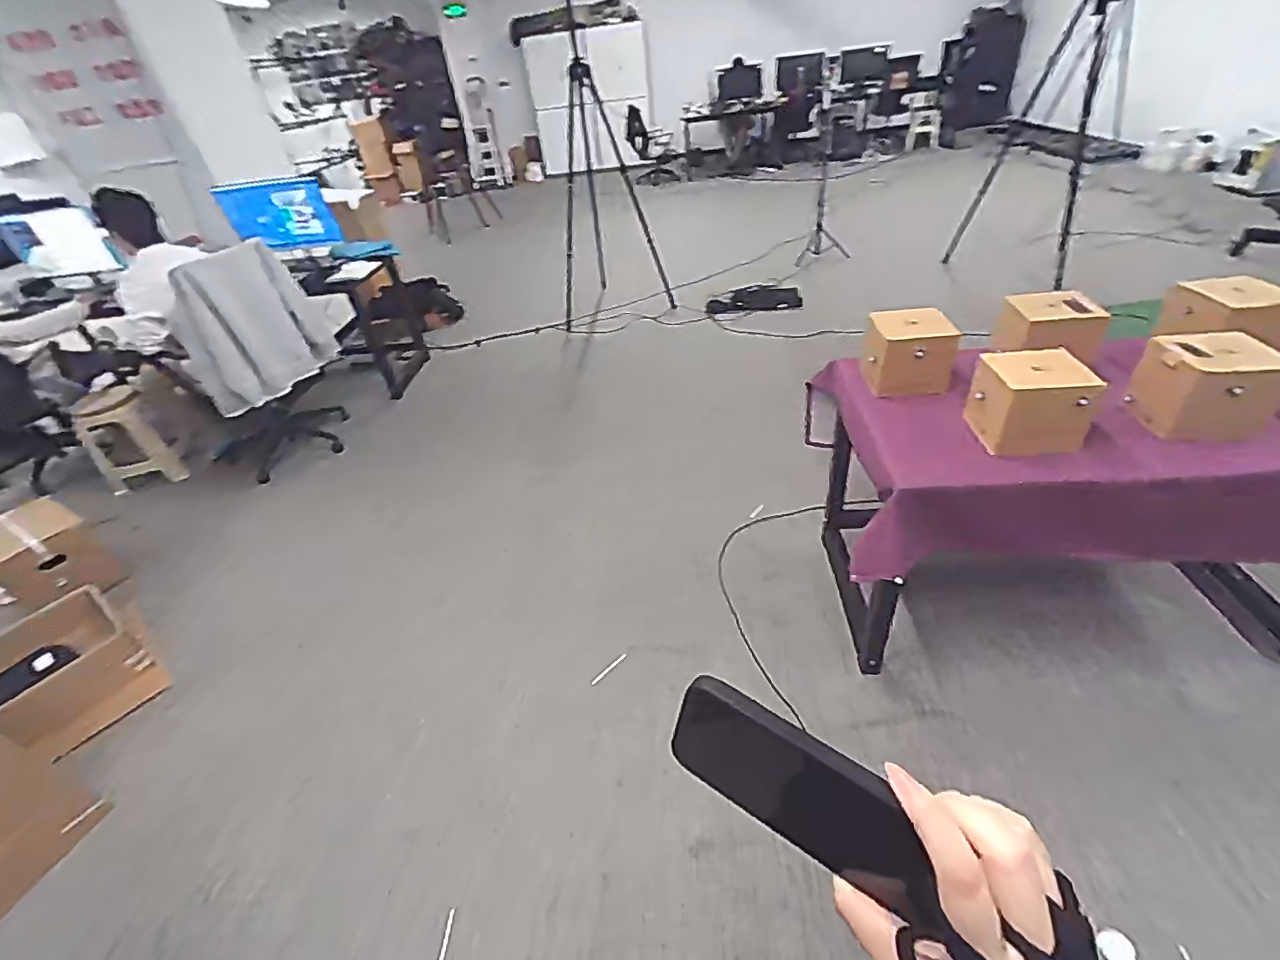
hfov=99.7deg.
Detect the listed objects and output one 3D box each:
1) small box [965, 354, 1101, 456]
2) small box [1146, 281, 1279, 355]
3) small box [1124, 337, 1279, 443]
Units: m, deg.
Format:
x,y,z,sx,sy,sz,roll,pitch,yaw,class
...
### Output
x,y,z,sx,sy,sz,roll,pitch,yaw,class
0.846,-0.163,1.190,0.179,0.176,0.168,-1,38,7,small box
1.440,-0.381,1.353,0.168,0.176,0.179,-5,39,5,small box
1.196,-0.190,1.159,0.179,0.176,0.168,0,39,9,small box
